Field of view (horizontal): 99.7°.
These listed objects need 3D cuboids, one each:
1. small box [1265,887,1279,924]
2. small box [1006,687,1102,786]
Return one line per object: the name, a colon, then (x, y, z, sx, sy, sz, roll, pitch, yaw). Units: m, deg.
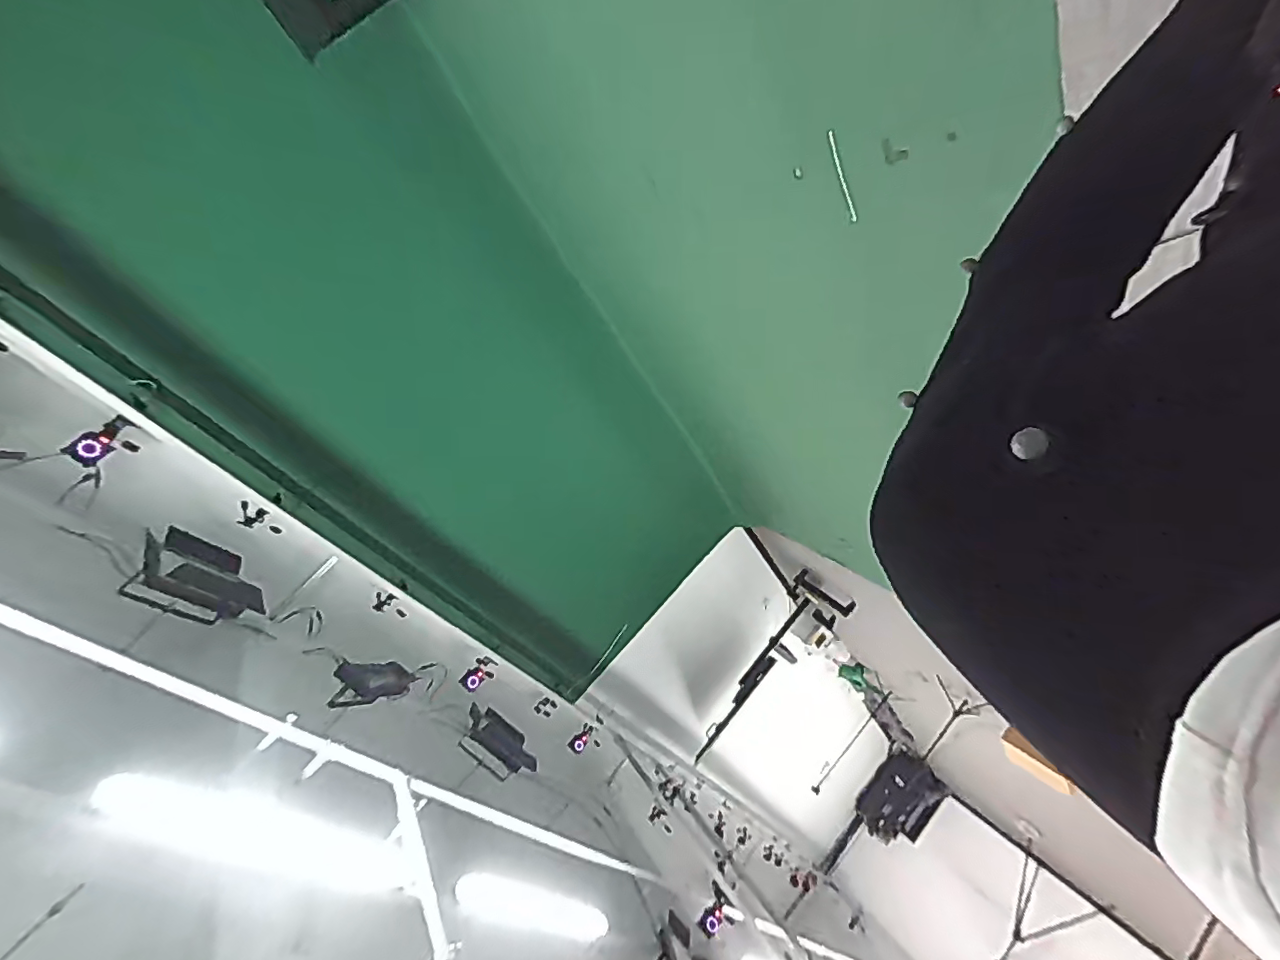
small box: (1.528, 0.934, 1.168, 0.179, 0.176, 0.168, 30, 163, 53)
small box: (1.227, 0.752, 1.597, 0.179, 0.176, 0.168, 30, 163, 53)
